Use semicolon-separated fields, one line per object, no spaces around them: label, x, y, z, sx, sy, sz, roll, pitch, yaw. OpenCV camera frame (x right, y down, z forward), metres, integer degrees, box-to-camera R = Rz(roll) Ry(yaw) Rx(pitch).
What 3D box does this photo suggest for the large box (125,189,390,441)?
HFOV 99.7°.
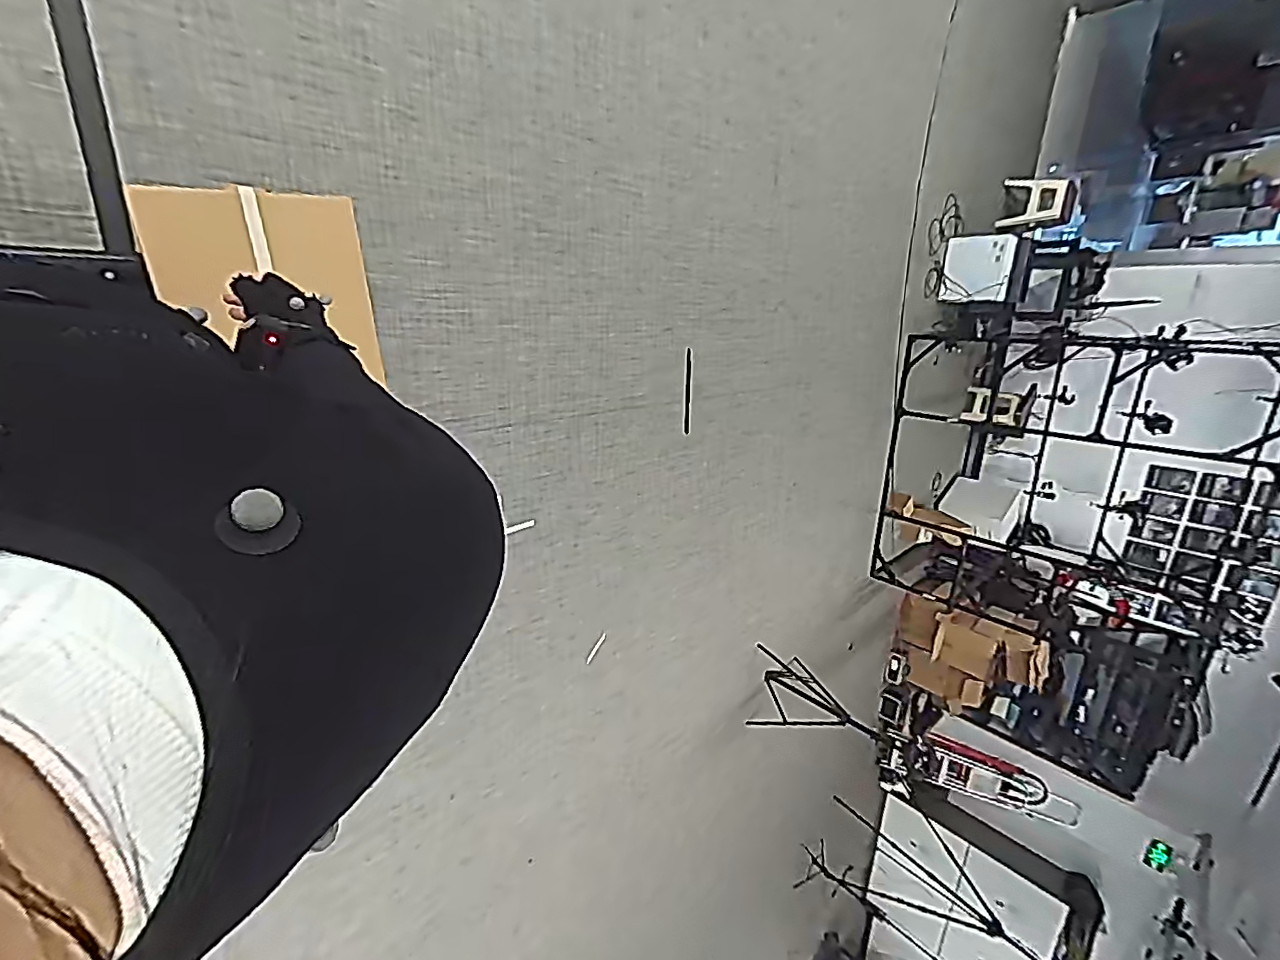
large box;-0.733;-0.329;1.069;0.320;0.320;0.408;-16;116;-34
